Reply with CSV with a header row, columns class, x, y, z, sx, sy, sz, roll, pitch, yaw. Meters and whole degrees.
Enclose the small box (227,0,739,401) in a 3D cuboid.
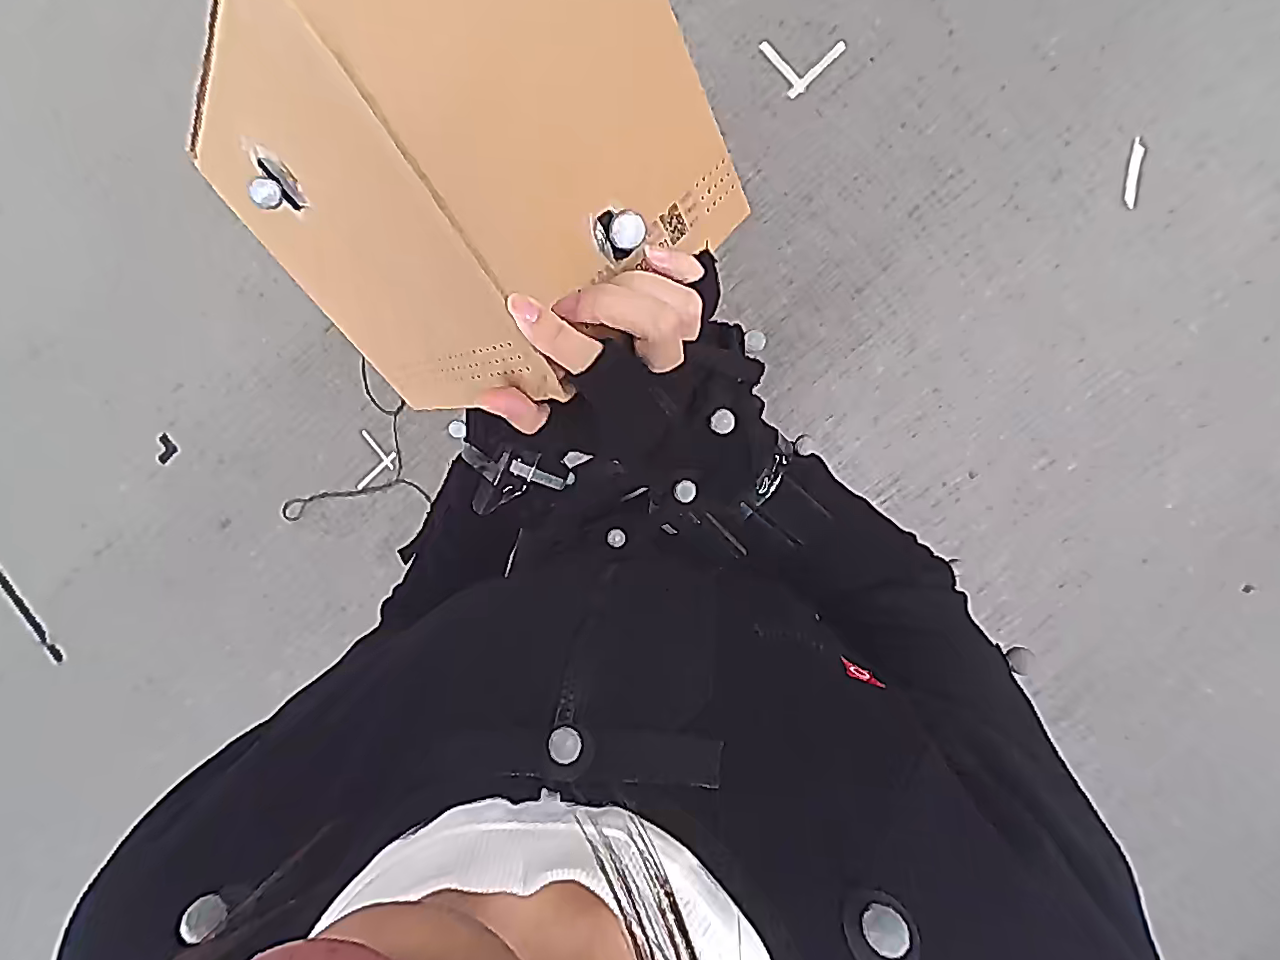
class,x,y,z,sx,sy,sz,roll,pitch,yaw
small box,-0.078,-0.157,0.301,0.168,0.179,0.176,-53,125,-26
